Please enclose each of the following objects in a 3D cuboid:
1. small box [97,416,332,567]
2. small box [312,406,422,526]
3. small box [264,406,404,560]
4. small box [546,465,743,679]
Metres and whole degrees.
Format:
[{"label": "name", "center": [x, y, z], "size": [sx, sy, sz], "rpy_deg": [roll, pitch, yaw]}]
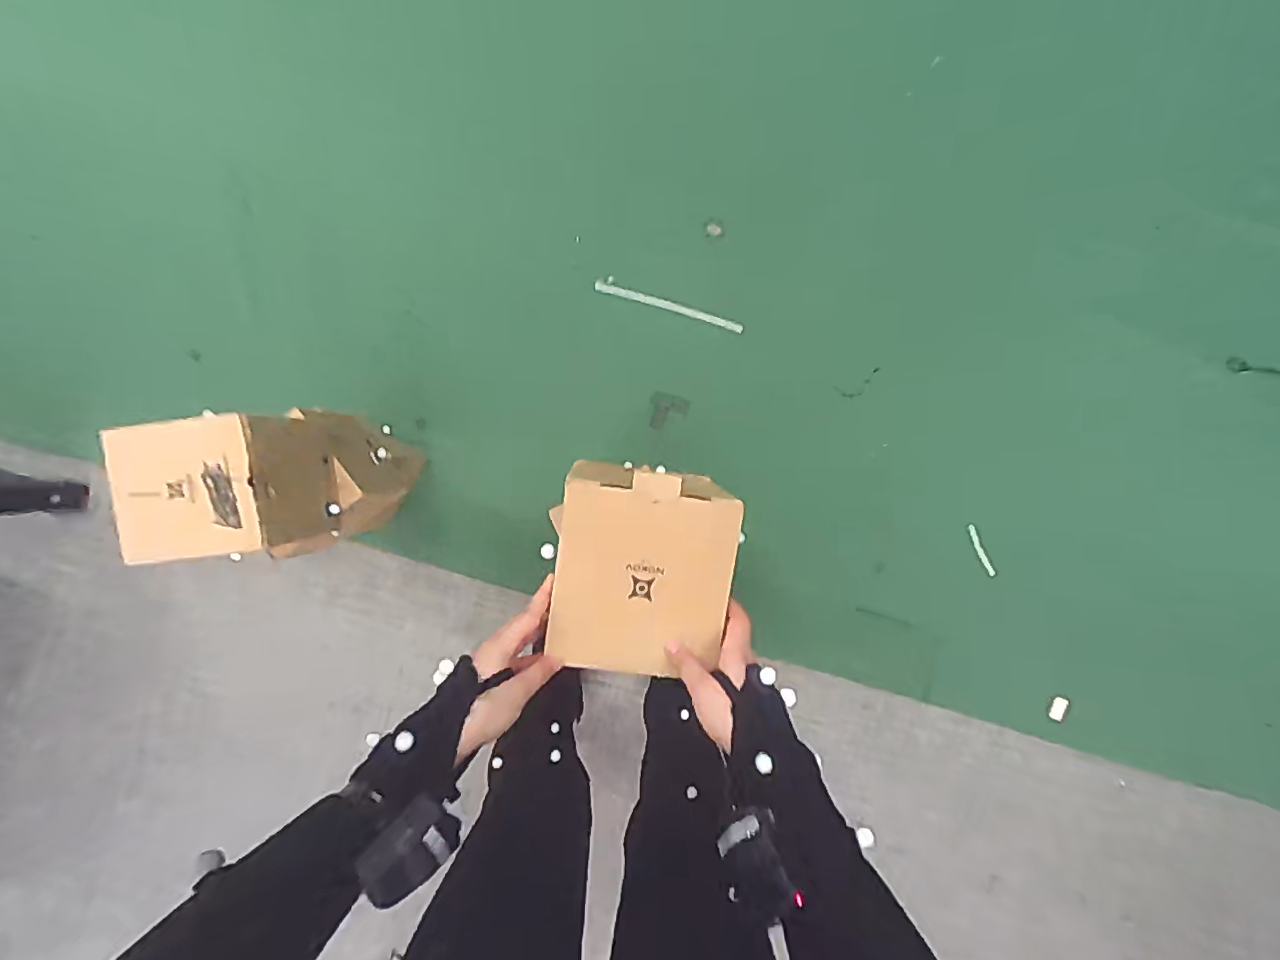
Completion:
[{"label": "small box", "center": [-0.535, 0.008, 0.712], "size": [0.179, 0.176, 0.168], "rpy_deg": [-7, 94, 2]}, {"label": "small box", "center": [-0.554, -0.021, 1.037], "size": [0.168, 0.176, 0.179], "rpy_deg": [32, 92, -2]}, {"label": "small box", "center": [-0.526, 0.002, 0.876], "size": [0.179, 0.176, 0.168], "rpy_deg": [-37, 93, 1]}, {"label": "small box", "center": [-0.001, 0.086, 0.582], "size": [0.168, 0.176, 0.179], "rpy_deg": [7, 96, -5]}]
